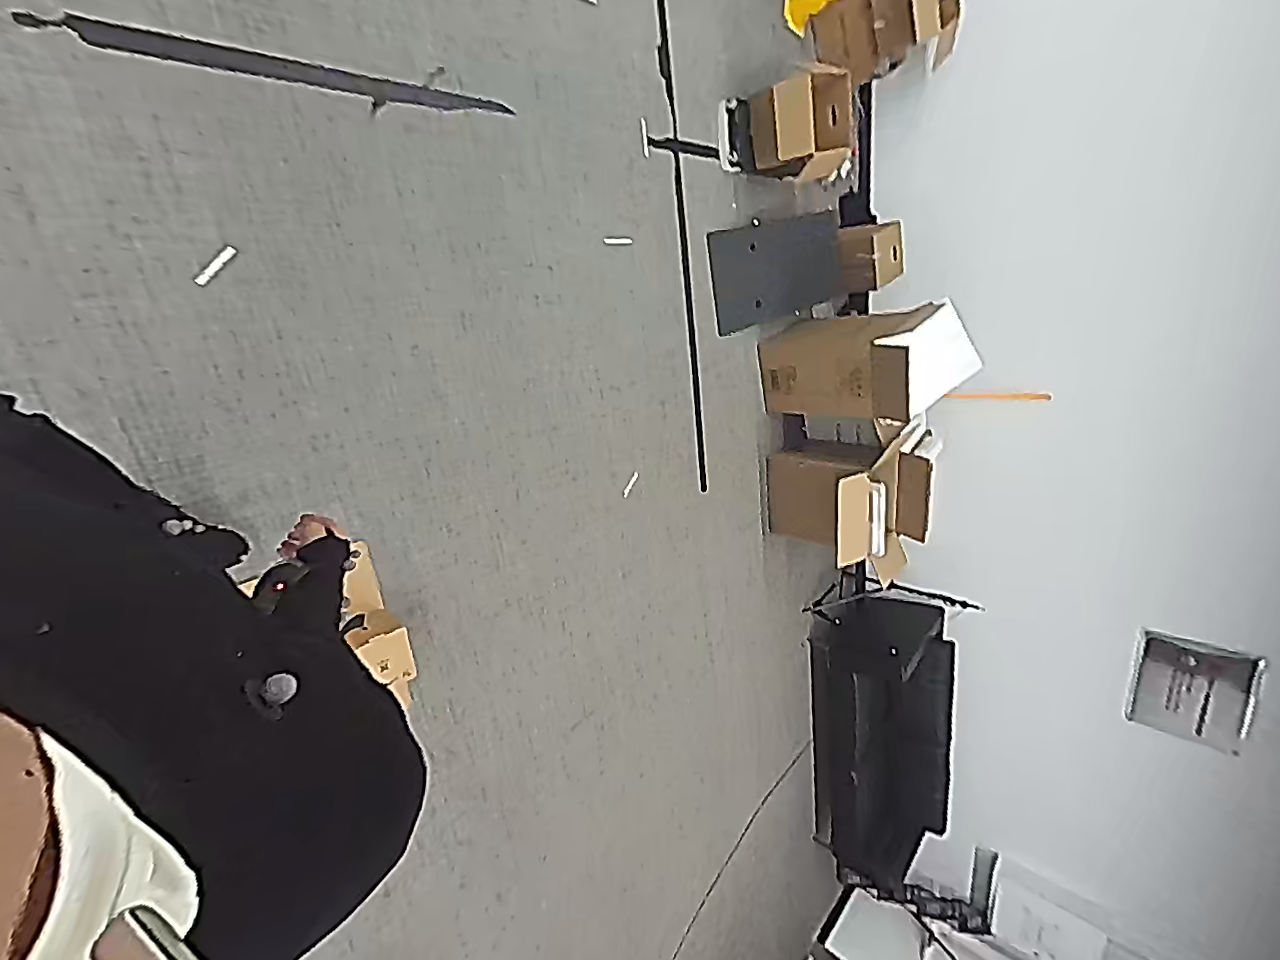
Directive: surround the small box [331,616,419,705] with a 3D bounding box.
[{"bbox_3d":[-0.780,0.515,1.585,0.168,0.176,0.179,-21,112,-43],"label":"small box"}]
